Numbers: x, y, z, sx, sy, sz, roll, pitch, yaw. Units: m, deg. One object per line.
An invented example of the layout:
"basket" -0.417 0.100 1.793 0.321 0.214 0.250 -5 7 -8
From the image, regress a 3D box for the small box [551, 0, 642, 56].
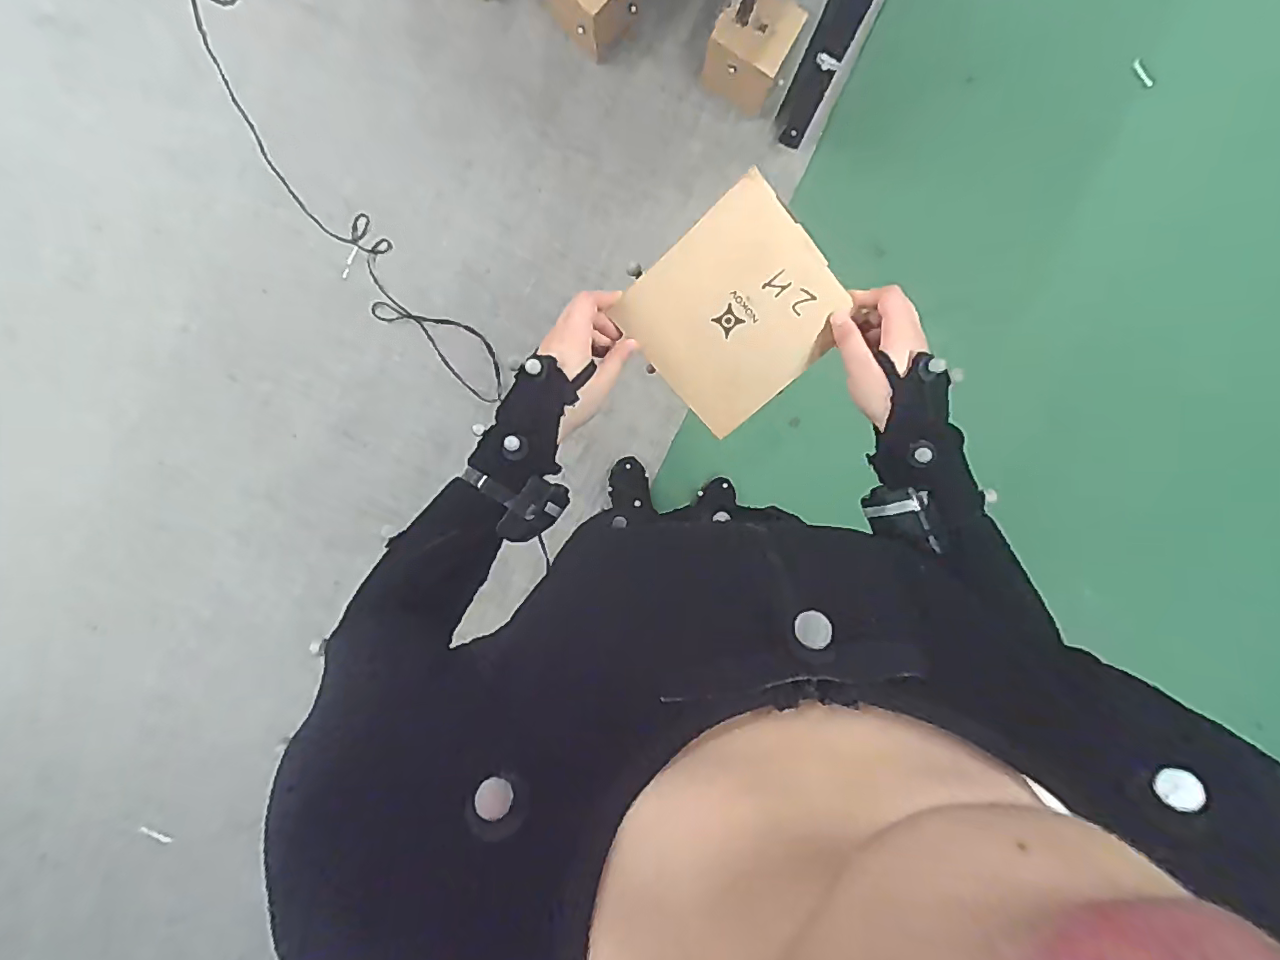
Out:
"small box" -0.106 -1.186 1.309 0.168 0.176 0.179 -45 91 3

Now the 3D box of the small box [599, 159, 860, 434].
"small box" 0.080 -0.180 0.552 0.179 0.176 0.168 -41 106 14

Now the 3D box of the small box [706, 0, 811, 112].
"small box" 0.276 -1.048 1.314 0.179 0.176 0.168 30 94 -3
